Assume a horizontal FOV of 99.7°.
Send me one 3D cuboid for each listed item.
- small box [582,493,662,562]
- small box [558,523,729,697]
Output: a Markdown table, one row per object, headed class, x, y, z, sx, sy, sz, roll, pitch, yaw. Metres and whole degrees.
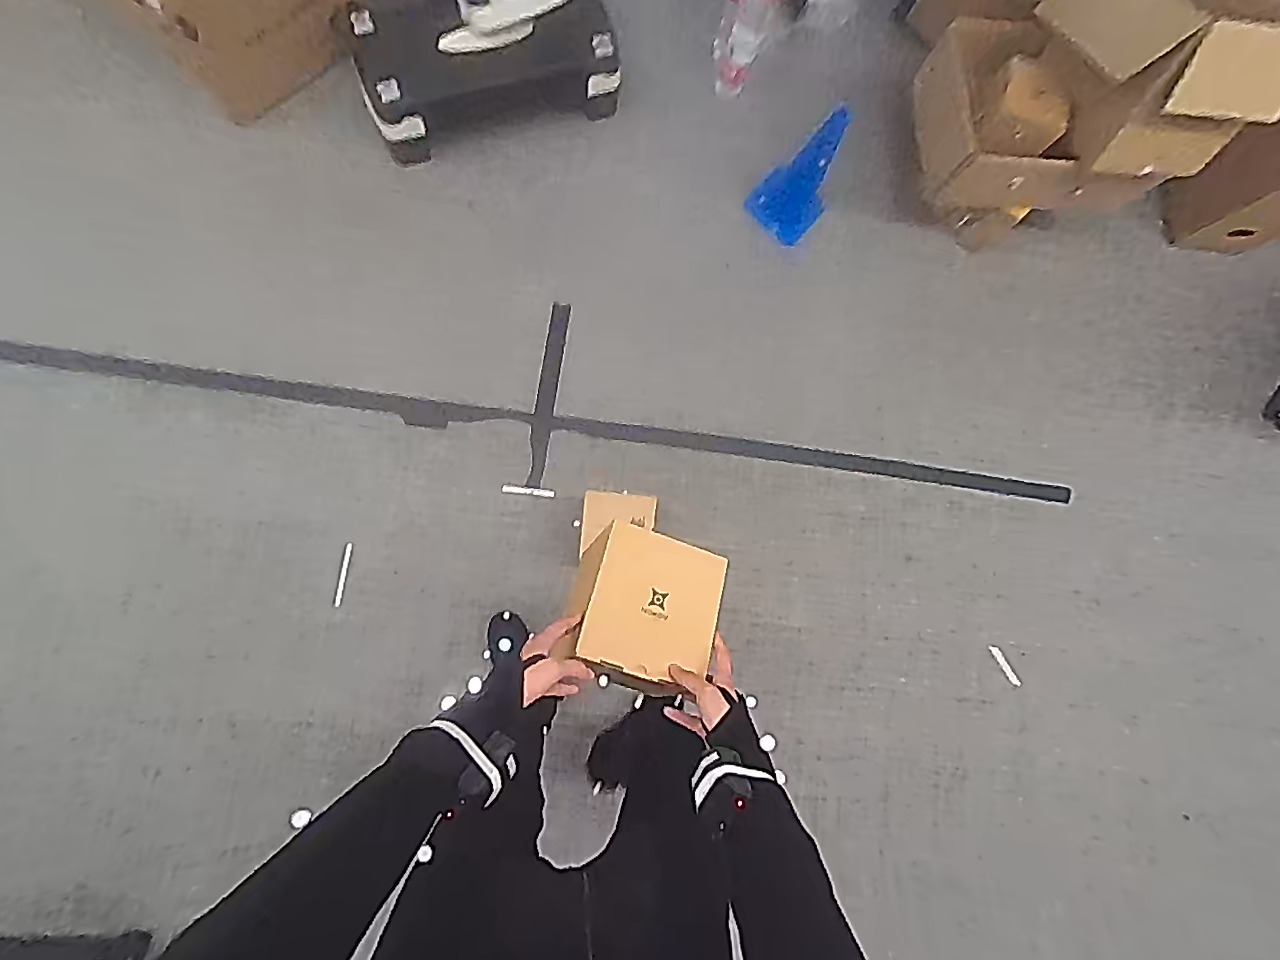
| class | x | y | z | sx | sy | sz | roll | pitch | yaw |
| --- | --- | --- | --- | --- | --- | --- | --- | --- | --- |
| small box | -0.050 | 0.129 | 1.360 | 0.179 | 0.176 | 0.168 | 6 | 82 | -6 |
| small box | -0.001 | 0.185 | 0.739 | 0.168 | 0.176 | 0.179 | 21 | 64 | -11 |
